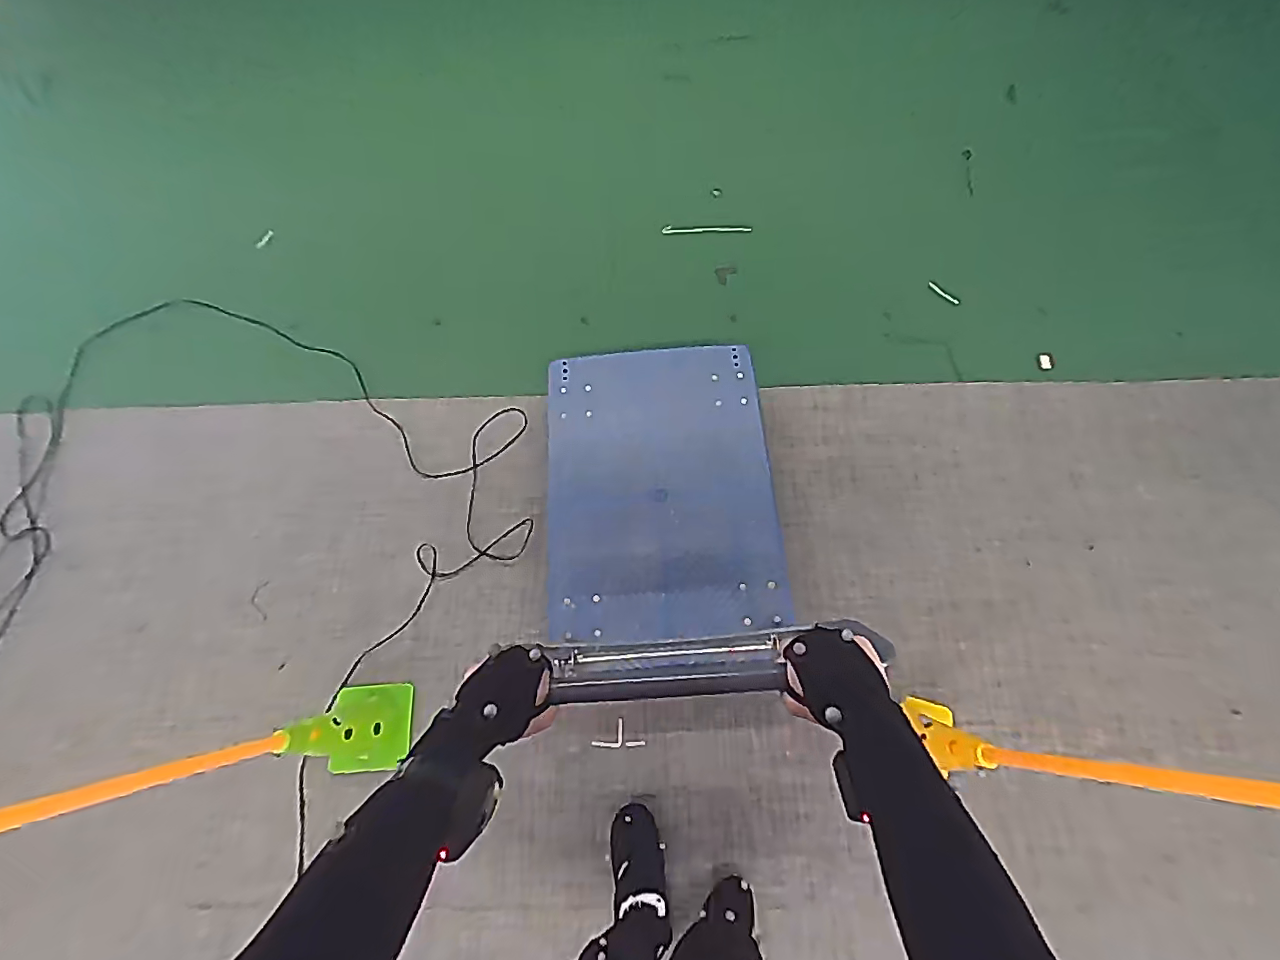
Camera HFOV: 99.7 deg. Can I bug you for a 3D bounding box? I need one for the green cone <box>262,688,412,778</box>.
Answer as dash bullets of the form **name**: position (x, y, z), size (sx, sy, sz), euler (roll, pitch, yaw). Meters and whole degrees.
- **green cone**: position (-0.691, 0.574, 1.207), size (0.202, 0.368, 0.200), euler (-6, 68, 3)
